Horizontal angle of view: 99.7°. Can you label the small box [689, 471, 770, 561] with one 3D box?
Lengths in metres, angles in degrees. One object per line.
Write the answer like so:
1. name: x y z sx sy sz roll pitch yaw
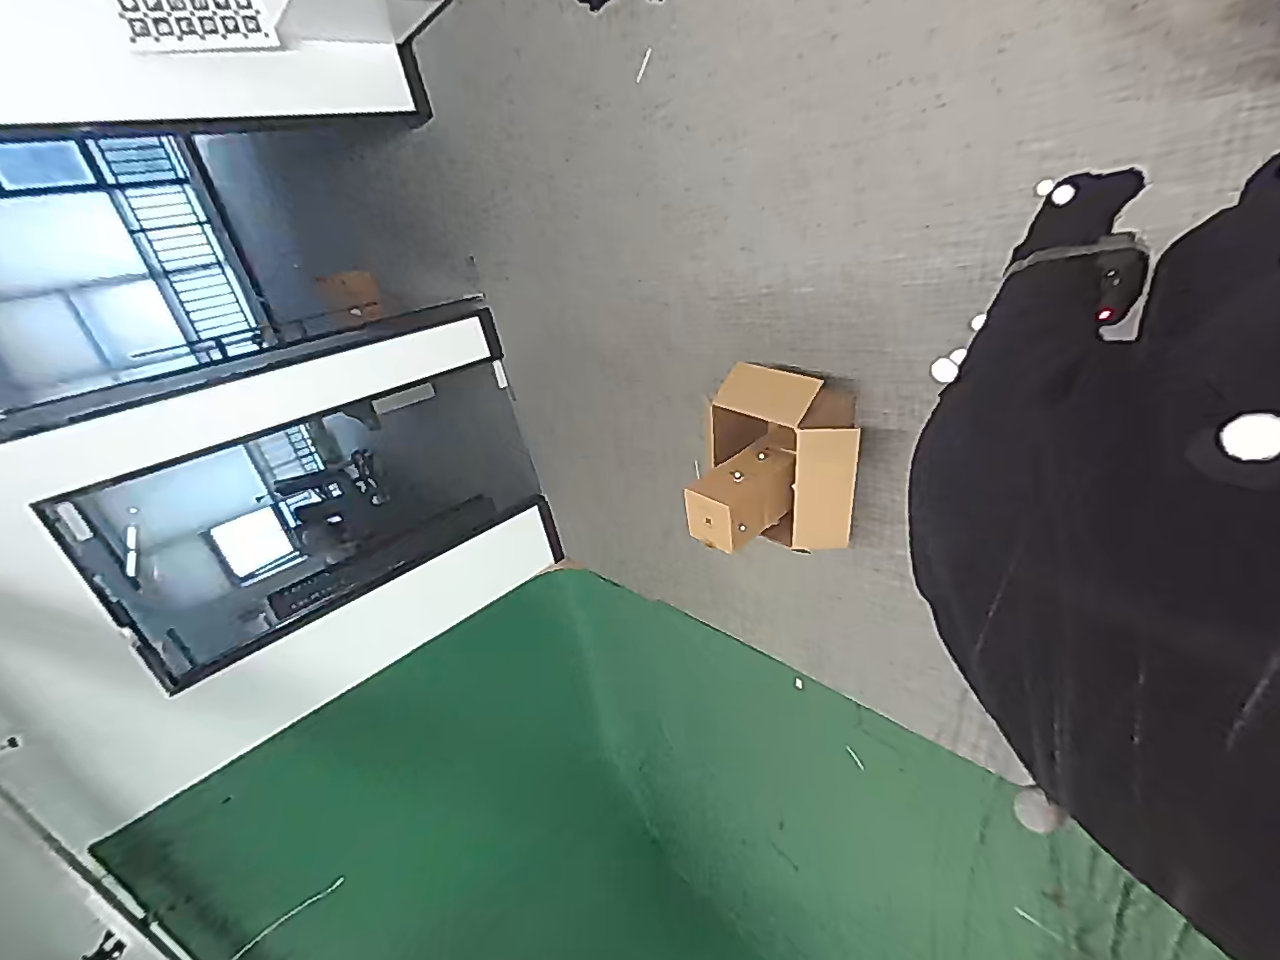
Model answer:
1. small box: 0.266 0.100 1.582 0.168 0.176 0.179 21 132 41
